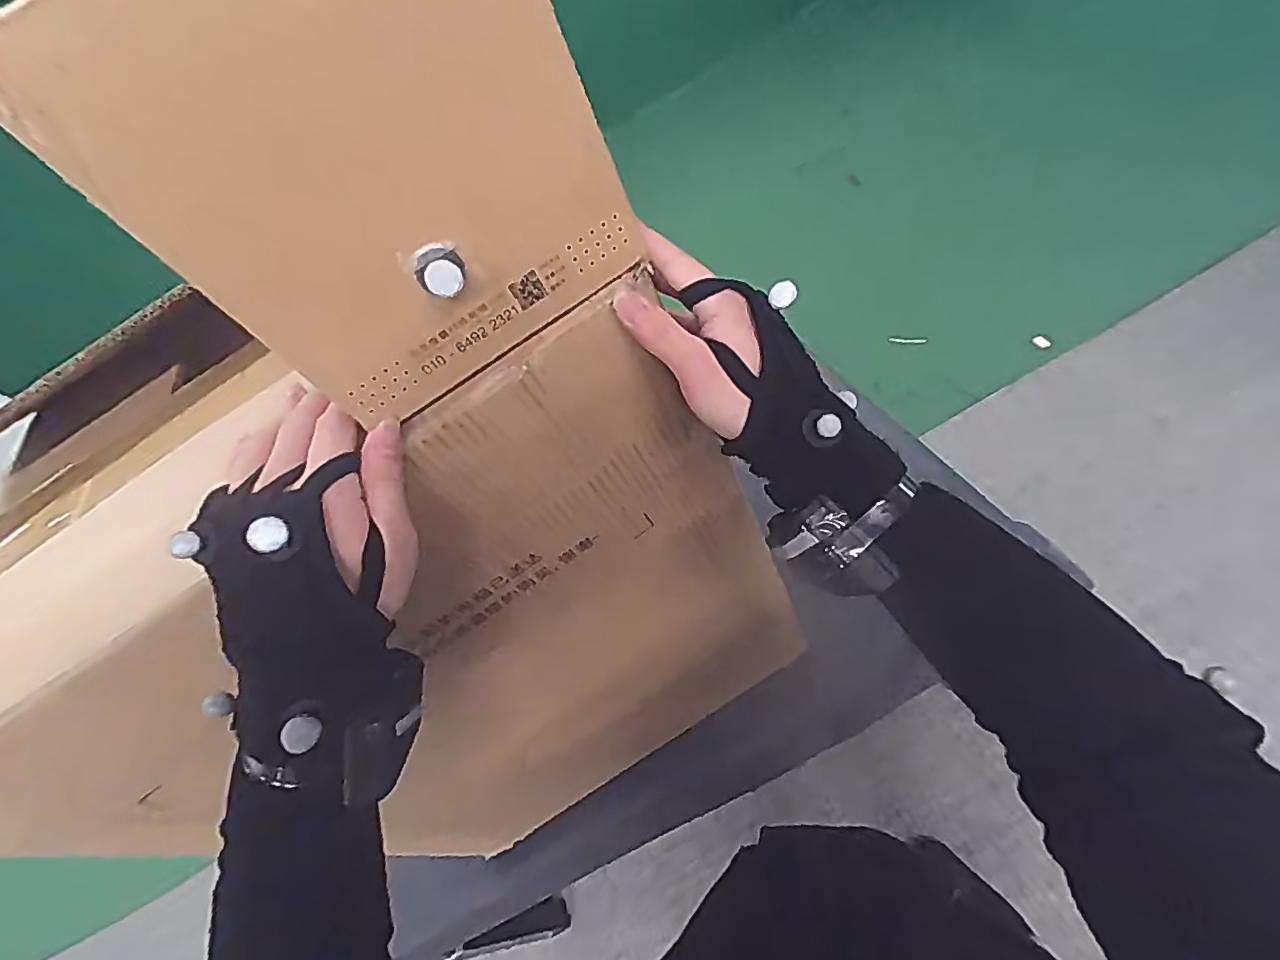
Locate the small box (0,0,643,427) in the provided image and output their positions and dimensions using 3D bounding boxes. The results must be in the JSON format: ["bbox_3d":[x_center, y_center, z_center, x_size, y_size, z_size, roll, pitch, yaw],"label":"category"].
[{"bbox_3d":[-0.124,-0.159,0.264,0.168,0.176,0.179,-34,52,0],"label":"small box"}]
